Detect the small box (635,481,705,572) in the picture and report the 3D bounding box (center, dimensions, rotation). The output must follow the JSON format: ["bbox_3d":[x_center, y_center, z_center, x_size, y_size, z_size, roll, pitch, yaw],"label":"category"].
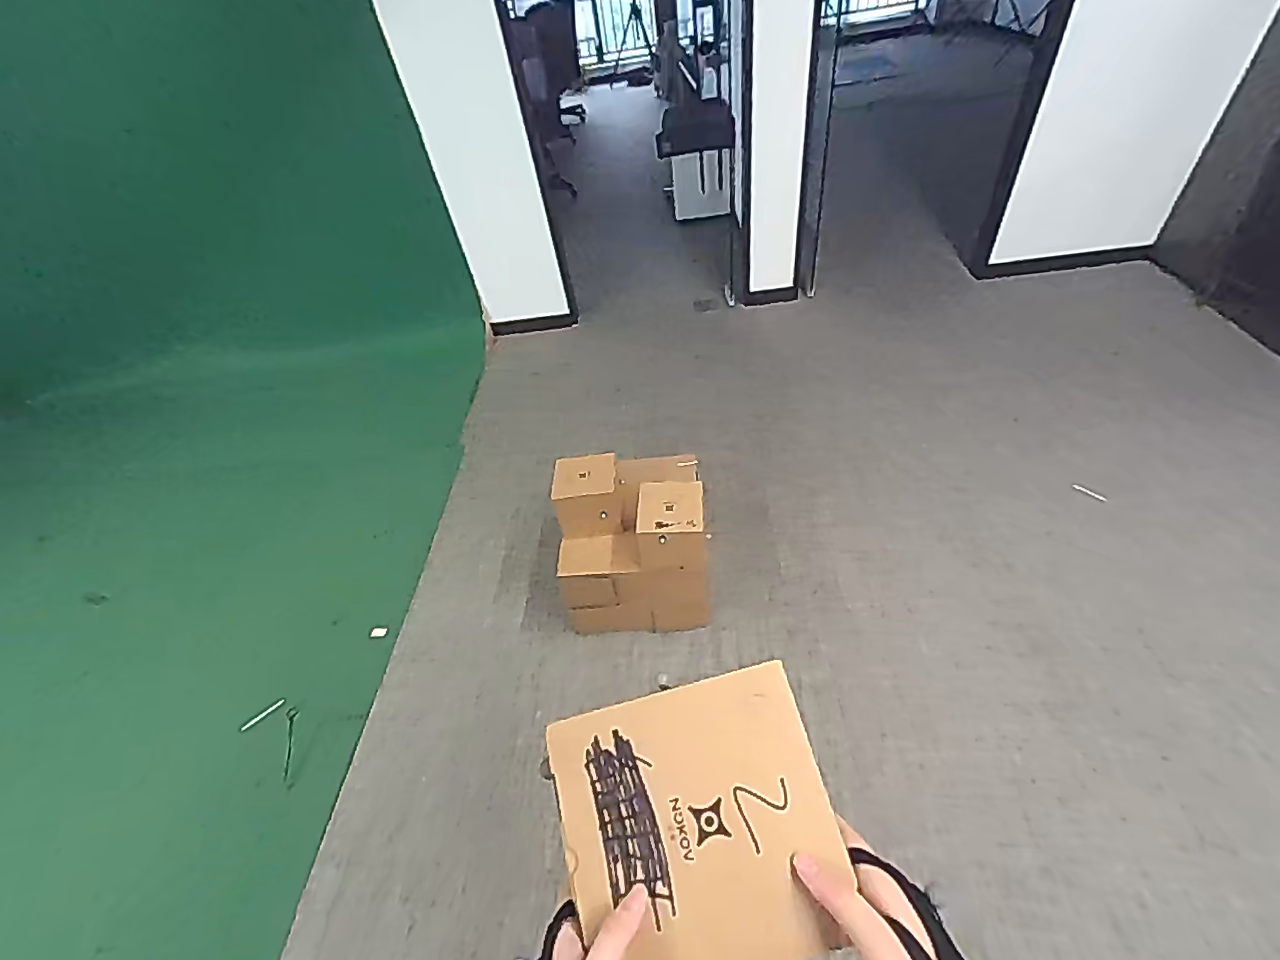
[{"bbox_3d":[0.084,0.123,1.425,0.168,0.176,0.179,-2,44,8],"label":"small box"}]

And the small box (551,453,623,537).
[{"bbox_3d":[-0.144,0.045,1.551,0.179,0.176,0.168,-6,43,5],"label":"small box"}]
